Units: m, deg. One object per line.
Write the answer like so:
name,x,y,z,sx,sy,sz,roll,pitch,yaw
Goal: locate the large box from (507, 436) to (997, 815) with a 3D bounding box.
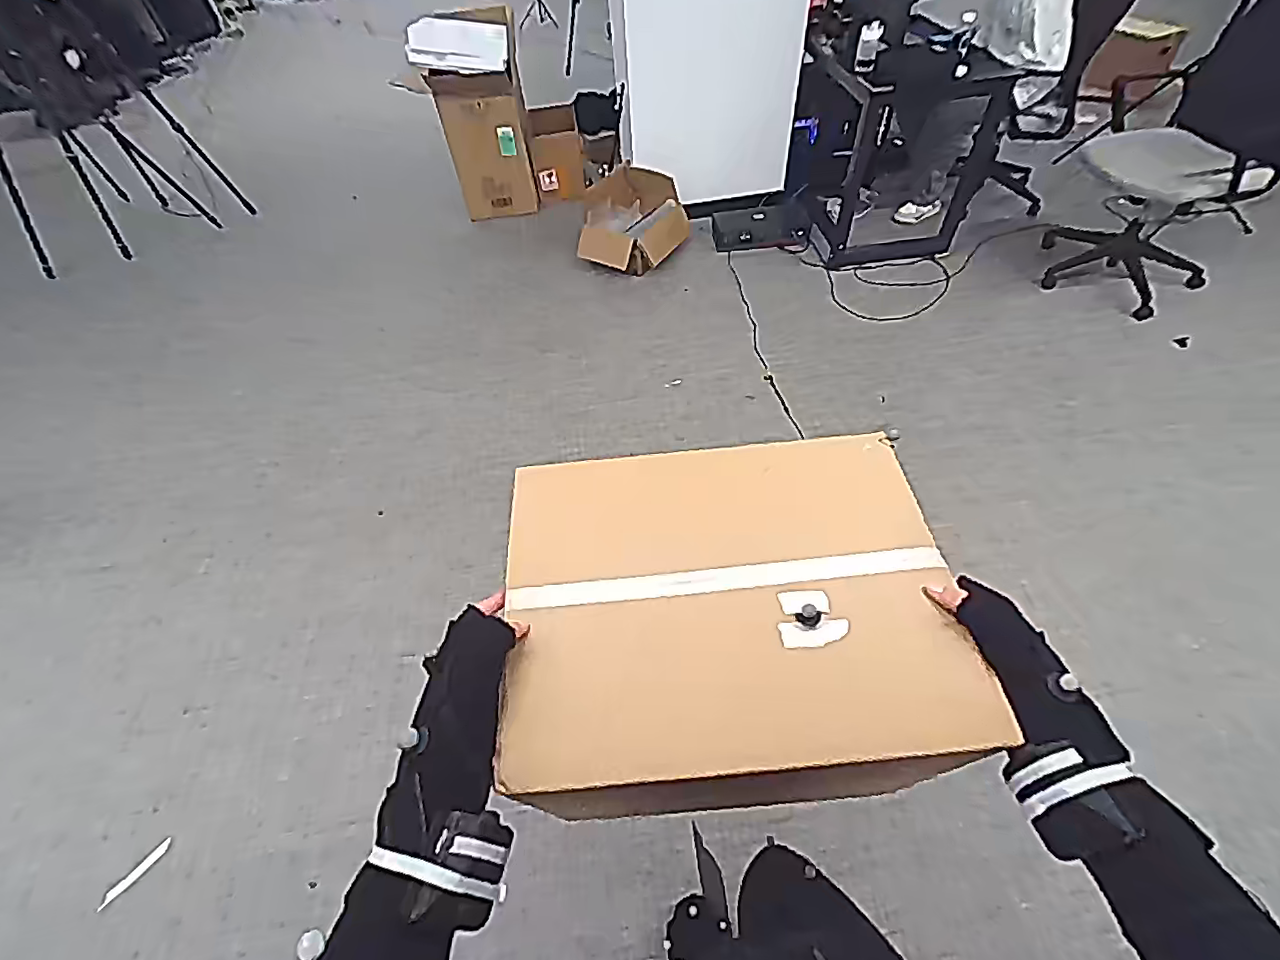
large box,0.085,0.181,0.634,0.408,0.320,0.320,-6,54,0
